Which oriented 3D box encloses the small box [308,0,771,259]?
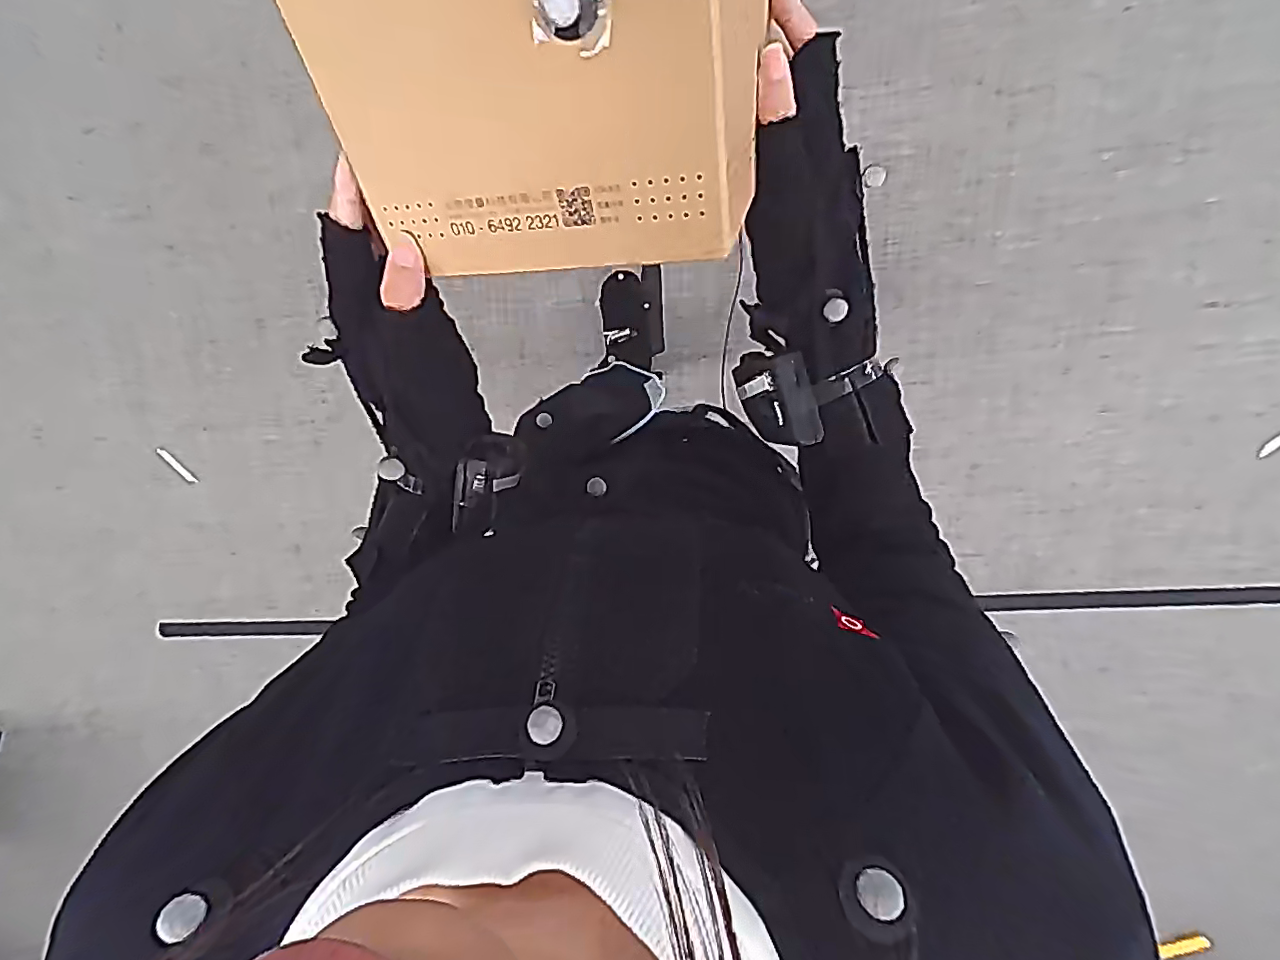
[{"bbox_3d":[-0.030,-0.220,0.265,0.168,0.179,0.176,6,134,20],"label":"small box"}]
